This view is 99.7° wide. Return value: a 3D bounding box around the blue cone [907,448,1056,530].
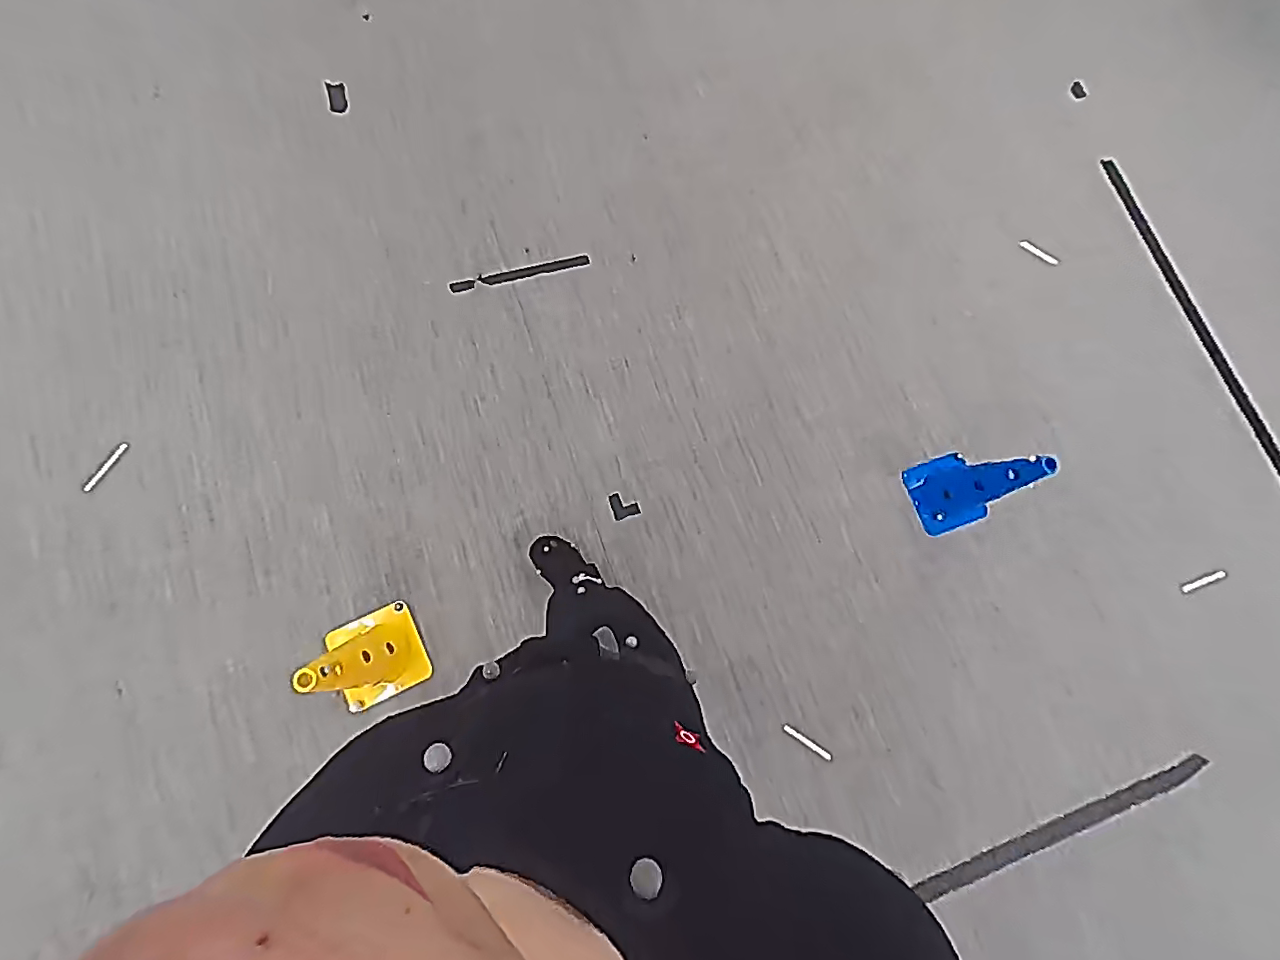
[{"bbox_3d":[0.869,-0.002,1.342,0.193,0.380,0.192,-17,80,-9],"label":"blue cone"}]
